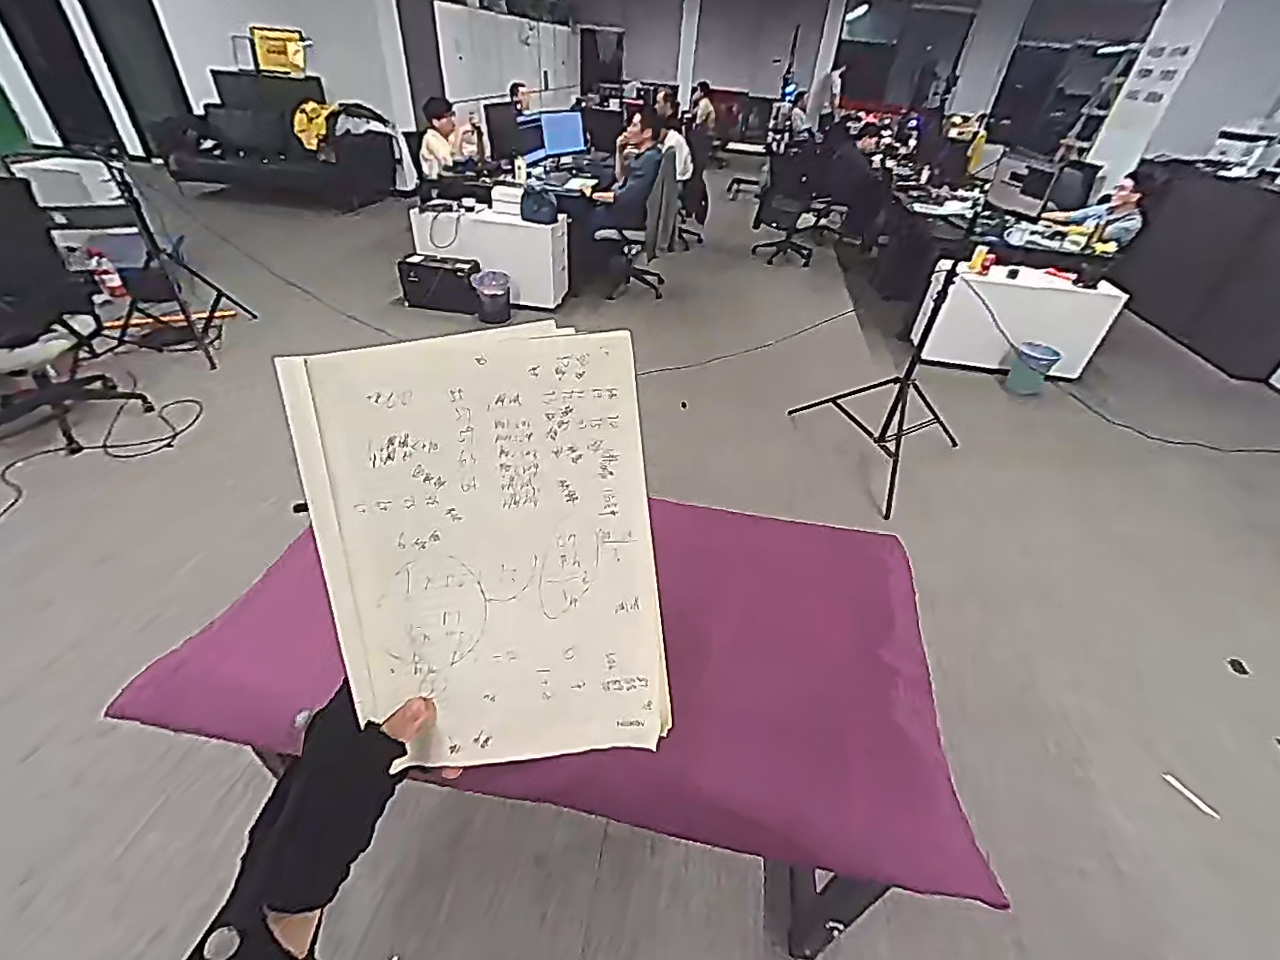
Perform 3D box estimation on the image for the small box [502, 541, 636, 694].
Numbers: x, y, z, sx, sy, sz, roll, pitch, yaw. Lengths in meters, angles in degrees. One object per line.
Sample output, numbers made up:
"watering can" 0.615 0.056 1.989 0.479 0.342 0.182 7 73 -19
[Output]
"small box" -0.111 0.229 0.897 0.179 0.176 0.168 9 37 5
